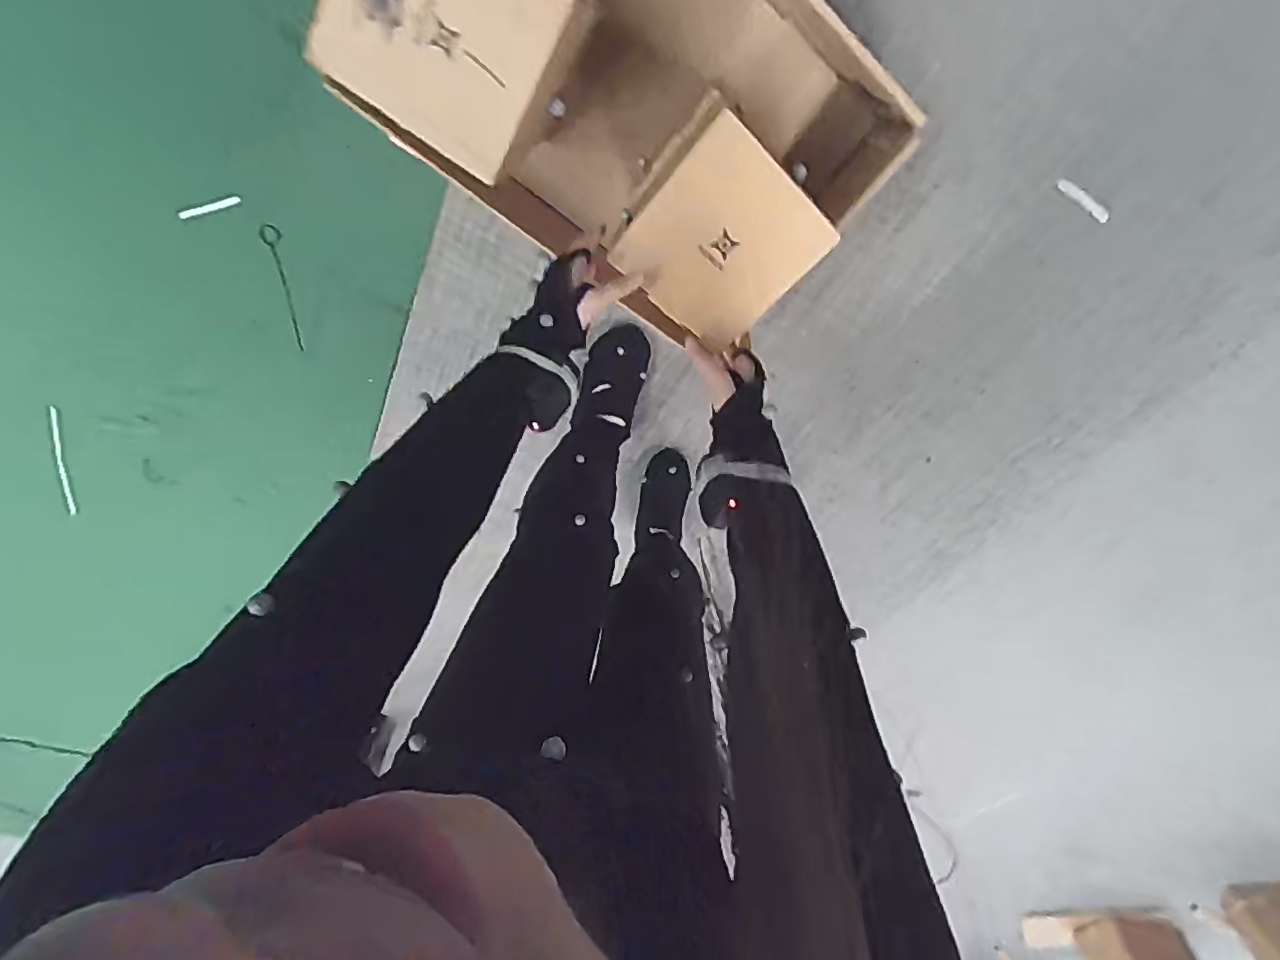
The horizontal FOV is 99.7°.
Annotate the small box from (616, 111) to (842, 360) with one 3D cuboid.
[{"bbox_3d":[0.093,-0.280,0.616,0.168,0.176,0.179,36,124,-22],"label":"small box"}]

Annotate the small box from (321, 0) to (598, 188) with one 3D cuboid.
[{"bbox_3d":[-0.158,-0.421,0.518,0.179,0.176,0.168,30,124,-20],"label":"small box"}]
